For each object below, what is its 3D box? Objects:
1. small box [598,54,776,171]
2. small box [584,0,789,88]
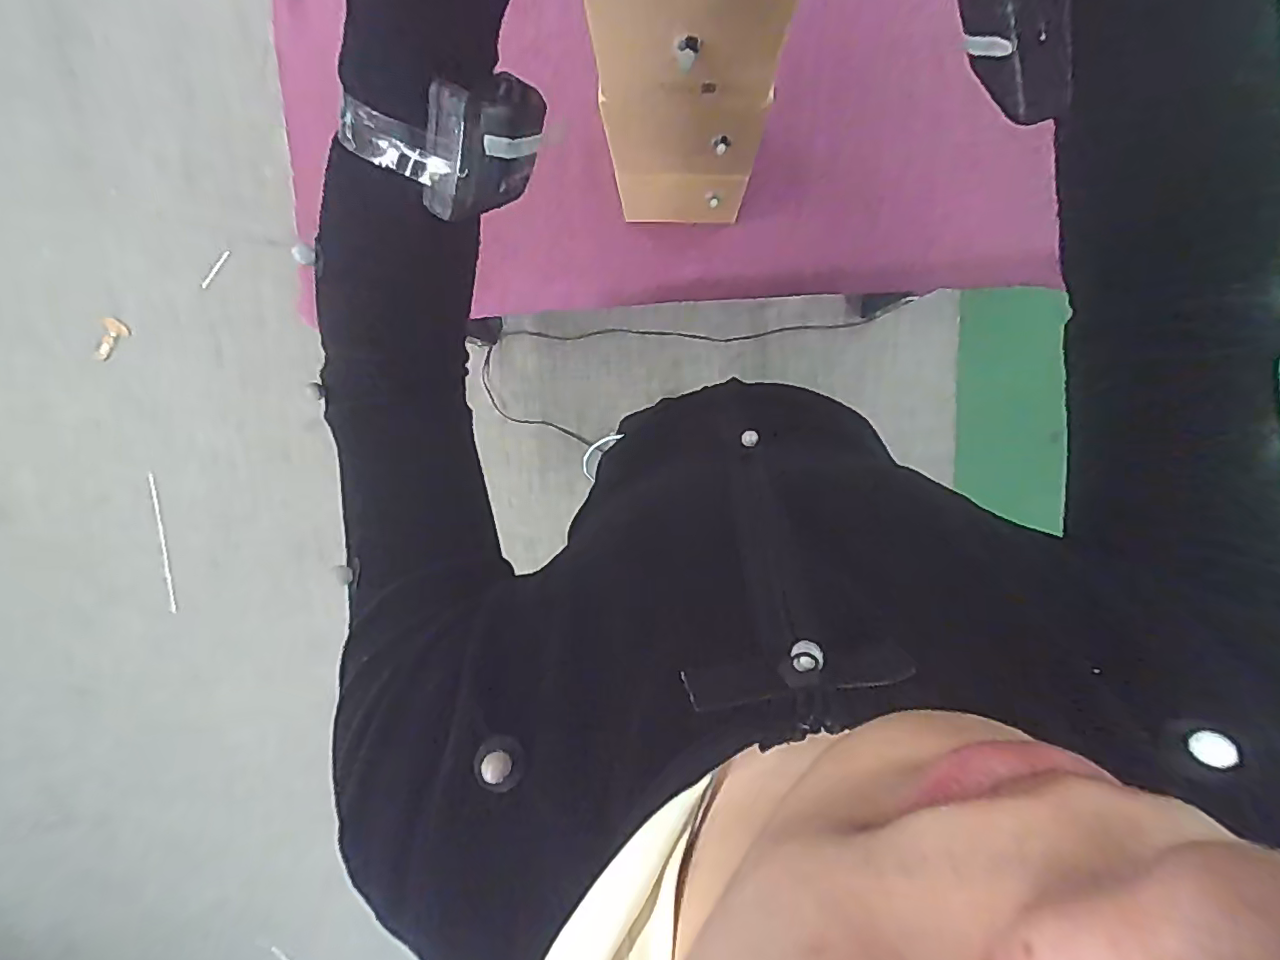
[{"bbox_3d":[0.052,-0.468,0.604,0.179,0.176,0.168,3,97,4],"label":"small box"},{"bbox_3d":[0.042,-0.457,0.441,0.168,0.176,0.179,2,97,3],"label":"small box"}]
